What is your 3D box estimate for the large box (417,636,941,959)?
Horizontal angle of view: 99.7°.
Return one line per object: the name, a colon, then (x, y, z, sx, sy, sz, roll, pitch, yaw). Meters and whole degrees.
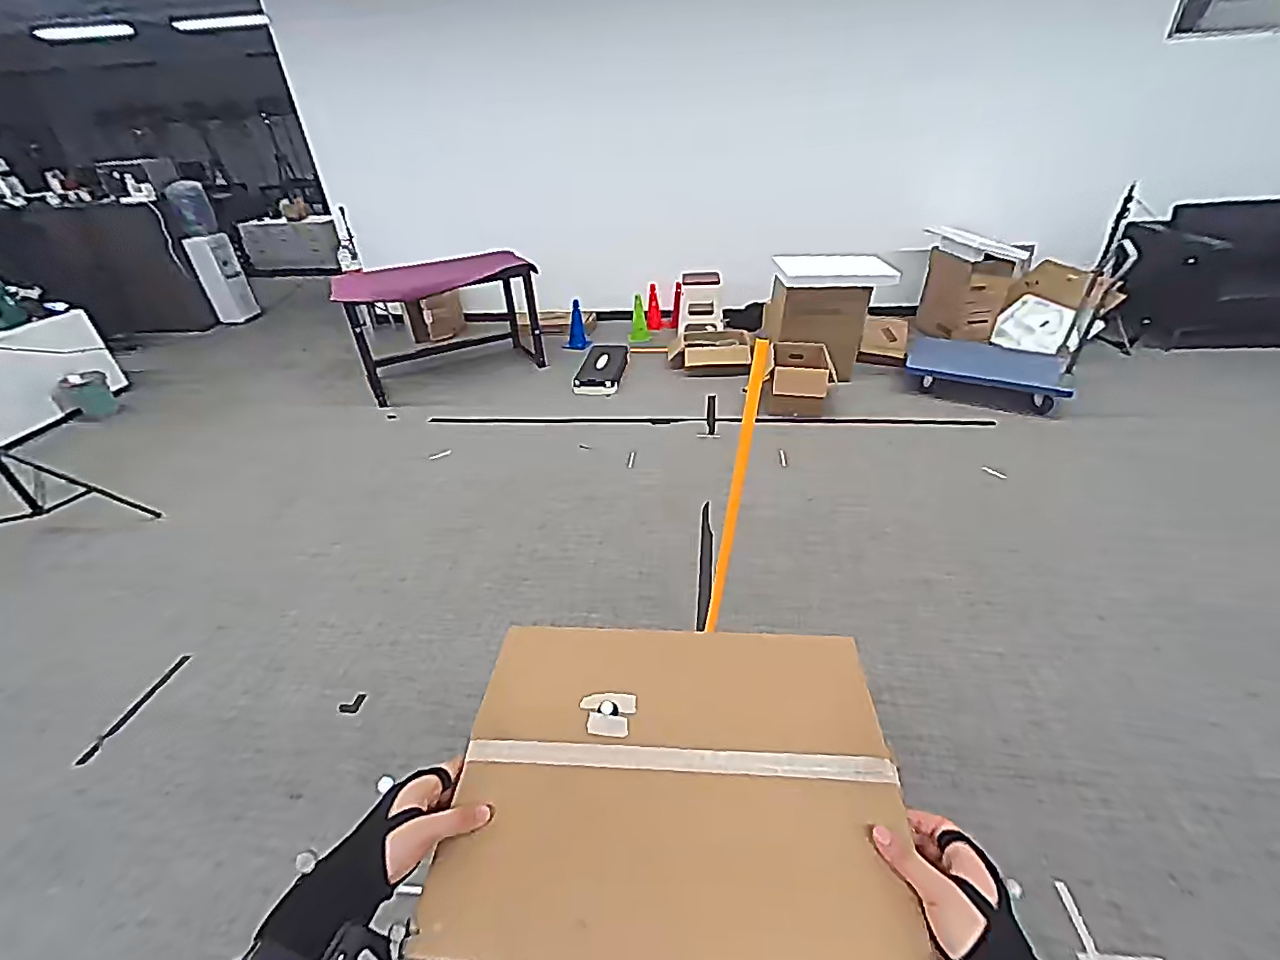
large box: (0.046, 0.397, 0.607, 0.408, 0.320, 0.320, -2, 35, 7)
